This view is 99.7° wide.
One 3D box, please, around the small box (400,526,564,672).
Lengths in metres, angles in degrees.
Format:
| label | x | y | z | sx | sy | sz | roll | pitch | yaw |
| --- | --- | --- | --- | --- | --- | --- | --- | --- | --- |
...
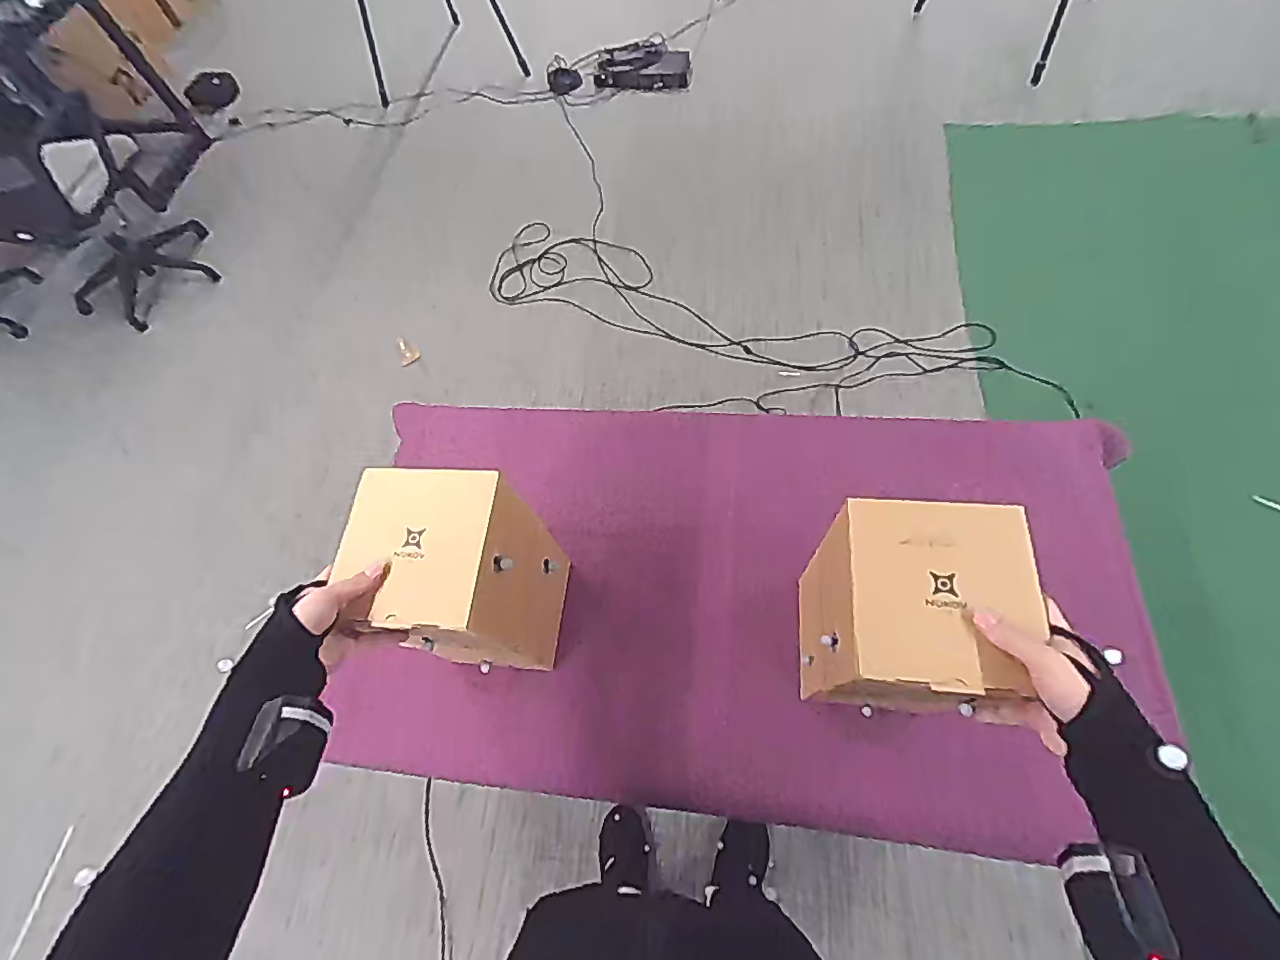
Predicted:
| label | x | y | z | sx | sy | sz | roll | pitch | yaw |
| --- | --- | --- | --- | --- | --- | --- | --- | --- | --- |
| small box | -0.218 | 0.174 | 0.799 | 0.168 | 0.176 | 0.179 | 2 | 64 | 9 |

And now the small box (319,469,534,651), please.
| label | x | y | z | sx | sy | sz | roll | pitch | yaw |
| --- | --- | --- | --- | --- | --- | --- | --- | --- | --- |
| small box | -0.237 | 0.102 | 0.654 | 0.168 | 0.176 | 0.179 | 1 | 66 | 8 |

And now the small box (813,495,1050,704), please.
| label | x | y | z | sx | sy | sz | roll | pitch | yaw |
| --- | --- | --- | --- | --- | --- | --- | --- | --- | --- |
| small box | 0.281 | 0.132 | 0.568 | 0.168 | 0.176 | 0.179 | 3 | 64 | 9 |
